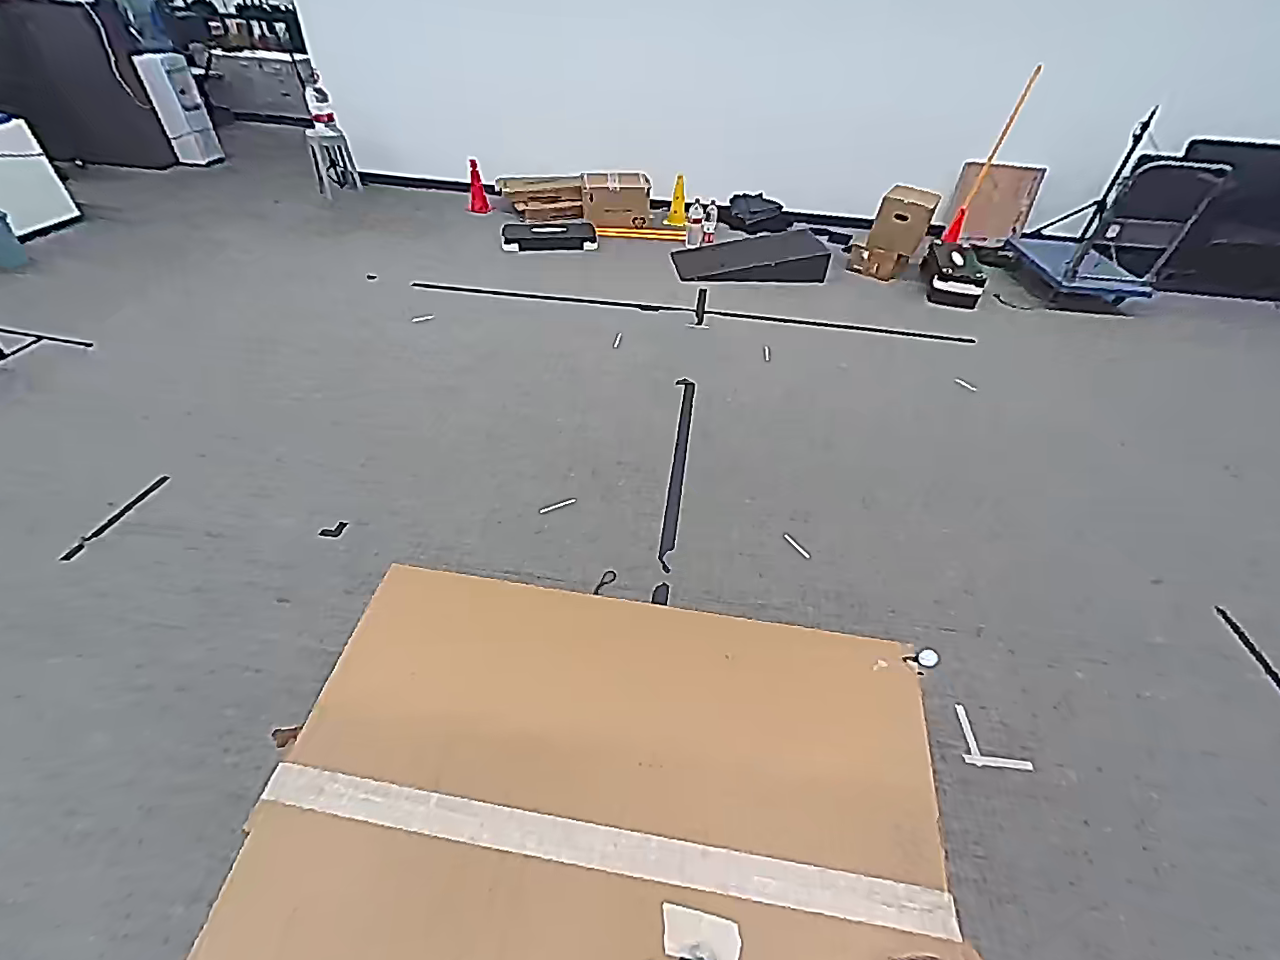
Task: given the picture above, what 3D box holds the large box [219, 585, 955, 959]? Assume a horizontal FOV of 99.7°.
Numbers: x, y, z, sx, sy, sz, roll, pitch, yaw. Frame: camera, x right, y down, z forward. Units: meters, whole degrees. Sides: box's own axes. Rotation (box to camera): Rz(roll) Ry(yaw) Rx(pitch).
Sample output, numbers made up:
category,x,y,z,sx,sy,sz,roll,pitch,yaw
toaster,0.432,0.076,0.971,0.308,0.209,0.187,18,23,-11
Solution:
category,x,y,z,sx,sy,sz,roll,pitch,yaw
large box,-0.023,0.316,0.441,0.408,0.320,0.320,8,53,5
